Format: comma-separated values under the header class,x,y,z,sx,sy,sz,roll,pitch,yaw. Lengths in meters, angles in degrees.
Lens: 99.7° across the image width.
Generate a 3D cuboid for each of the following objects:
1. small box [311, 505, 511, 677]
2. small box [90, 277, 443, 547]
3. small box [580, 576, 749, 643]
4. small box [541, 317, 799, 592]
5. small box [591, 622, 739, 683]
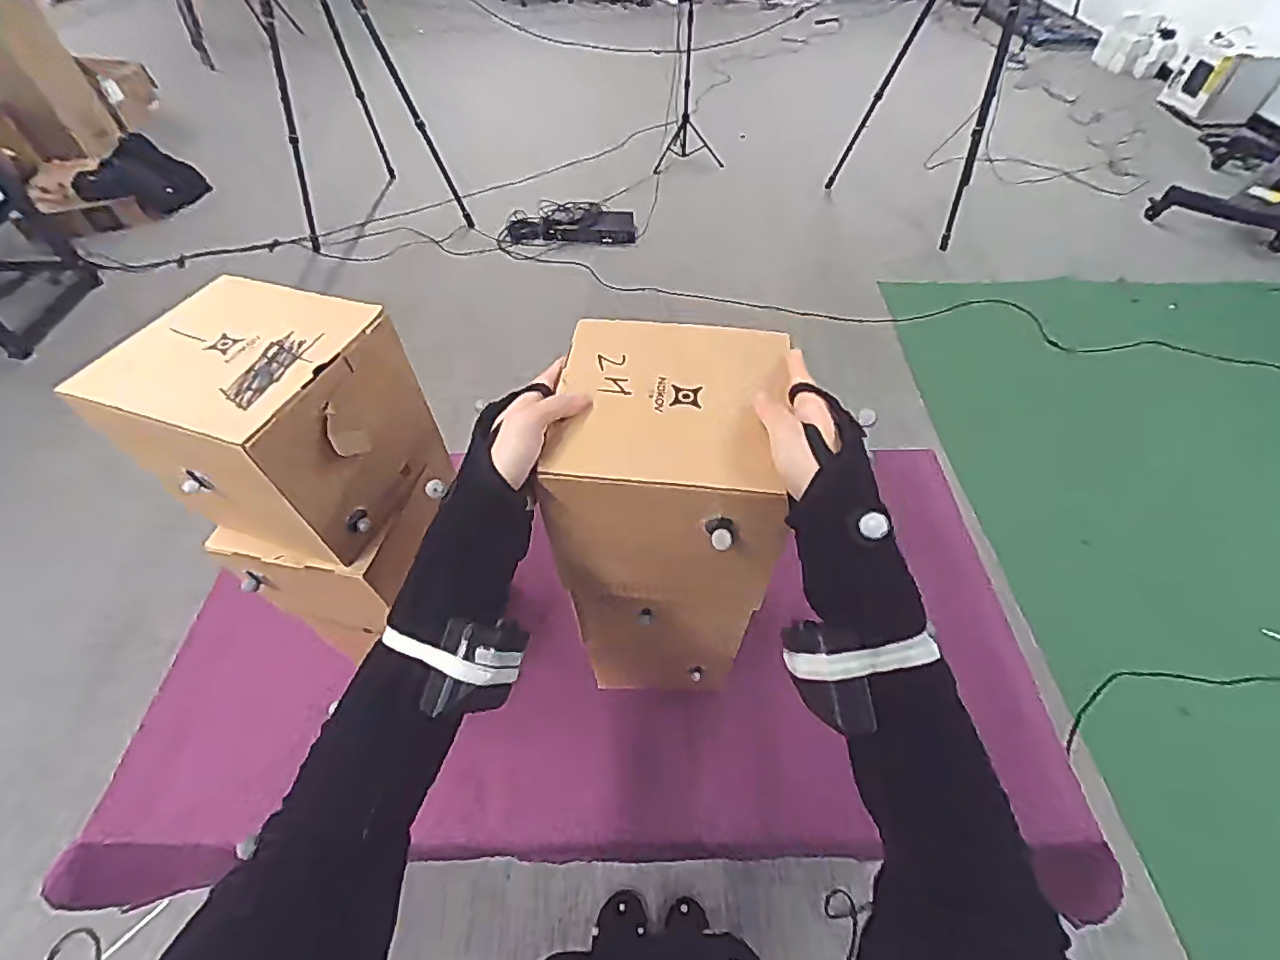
class,x,y,z,sx,sy,sz,roll,pitch,yaw
small box,-0.300,0.157,0.755,0.179,0.176,0.168,9,52,7
small box,-0.316,-0.059,0.507,0.179,0.176,0.168,14,52,12
small box,0.028,0.073,0.608,0.179,0.176,0.168,2,52,3
small box,0.028,-0.017,0.470,0.179,0.176,0.168,5,51,4
small box,0.032,0.168,0.741,0.179,0.176,0.168,1,51,2
